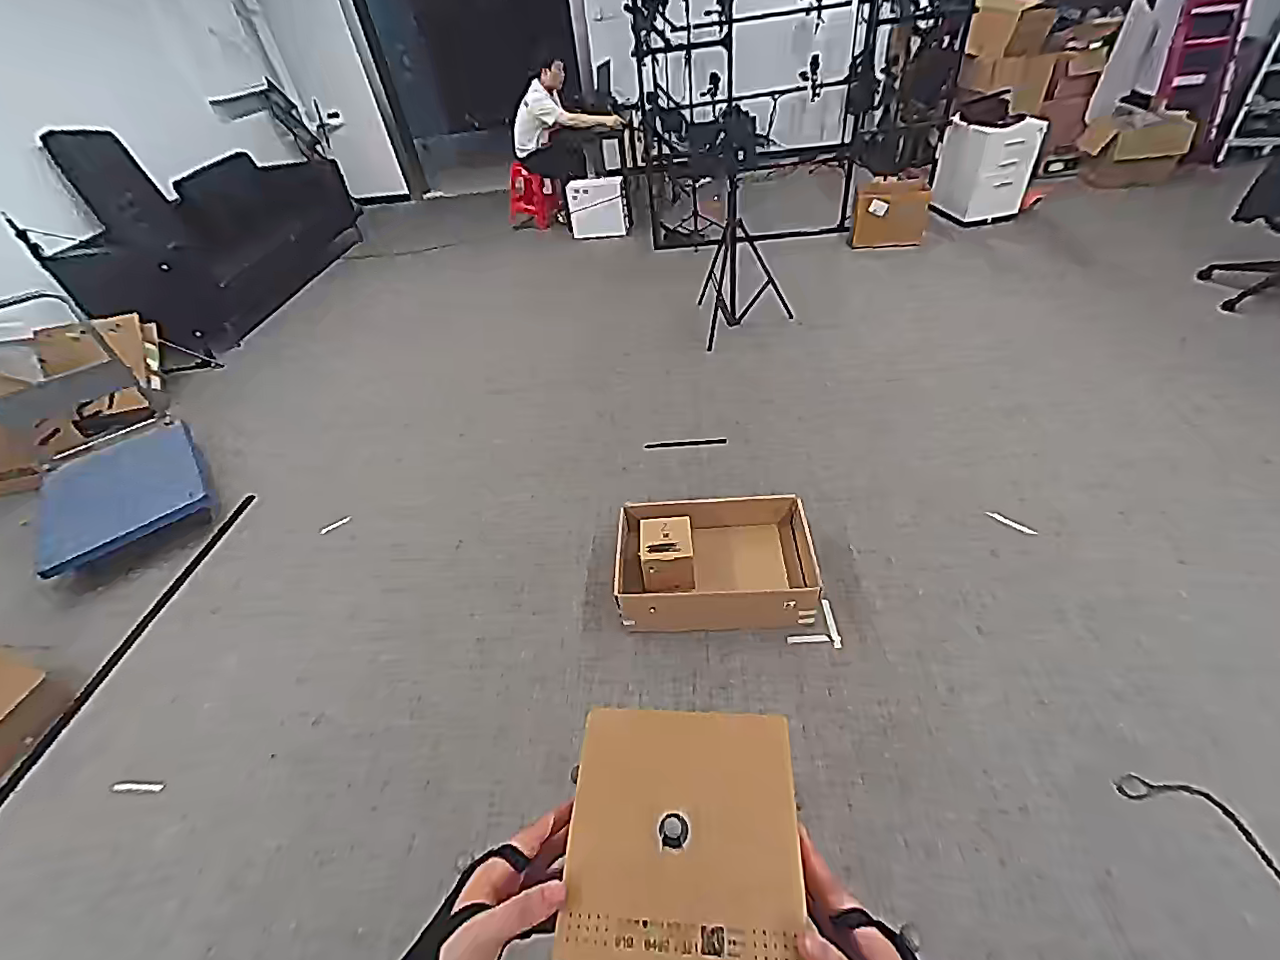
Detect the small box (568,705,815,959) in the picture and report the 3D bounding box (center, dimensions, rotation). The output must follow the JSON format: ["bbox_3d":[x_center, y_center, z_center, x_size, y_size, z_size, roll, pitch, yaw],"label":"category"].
[{"bbox_3d":[0.045,0.305,0.448,0.168,0.179,0.176,-1,45,9],"label":"small box"}]
